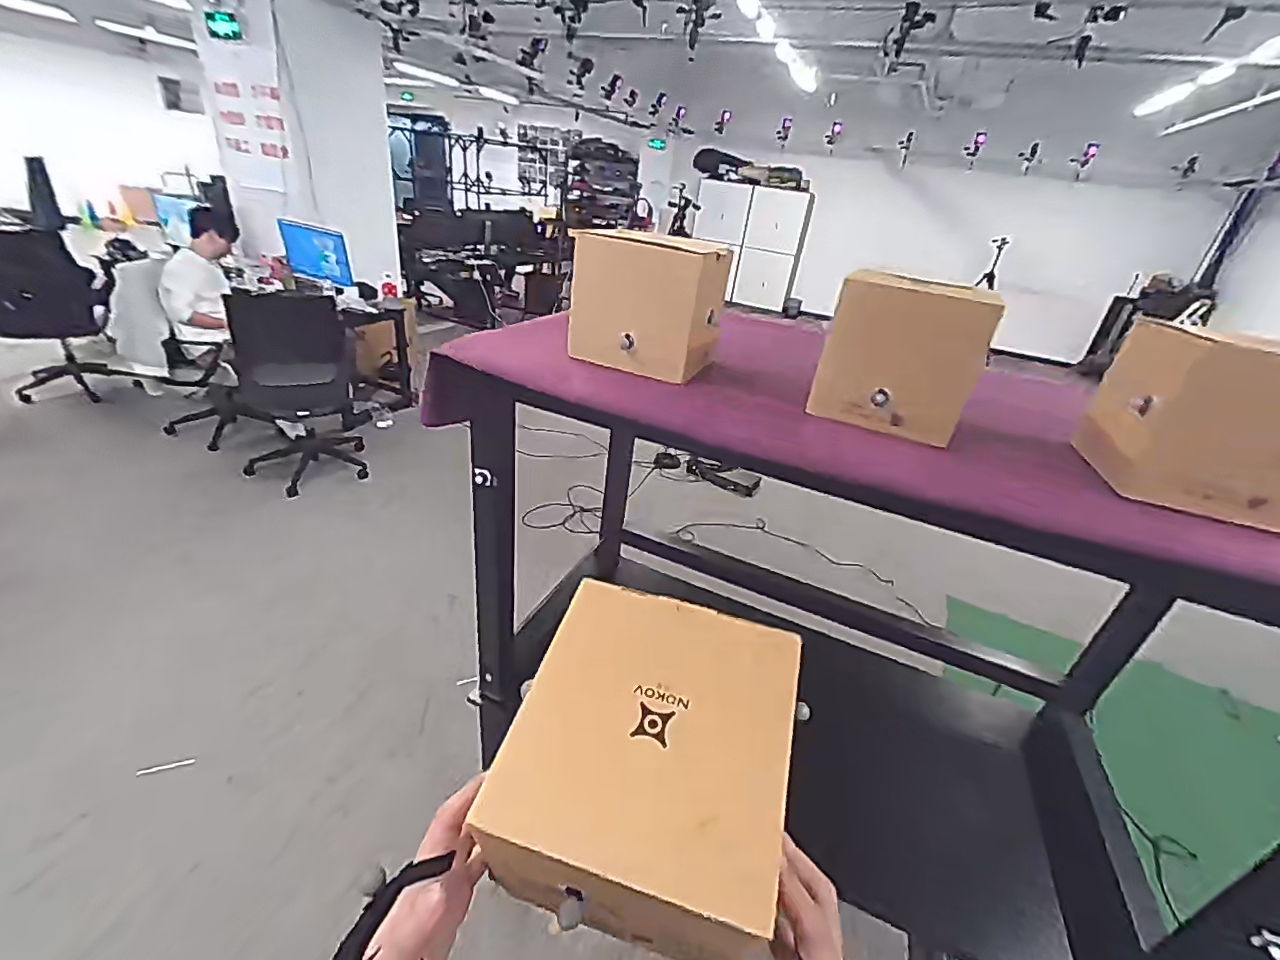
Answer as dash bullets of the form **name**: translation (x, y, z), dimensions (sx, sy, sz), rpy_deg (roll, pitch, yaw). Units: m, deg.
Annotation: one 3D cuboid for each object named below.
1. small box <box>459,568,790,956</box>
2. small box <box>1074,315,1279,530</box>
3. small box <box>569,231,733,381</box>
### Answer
- **small box**: translation (0.003, 0.197, 0.388), dimensions (0.168, 0.176, 0.179), rpy_deg (12, 42, 12)
- **small box**: translation (0.615, -0.067, 0.577), dimensions (0.168, 0.176, 0.179), rpy_deg (16, 28, 16)
- **small box**: translation (0.014, -0.249, 0.770), dimensions (0.179, 0.176, 0.168), rpy_deg (17, 28, 16)
